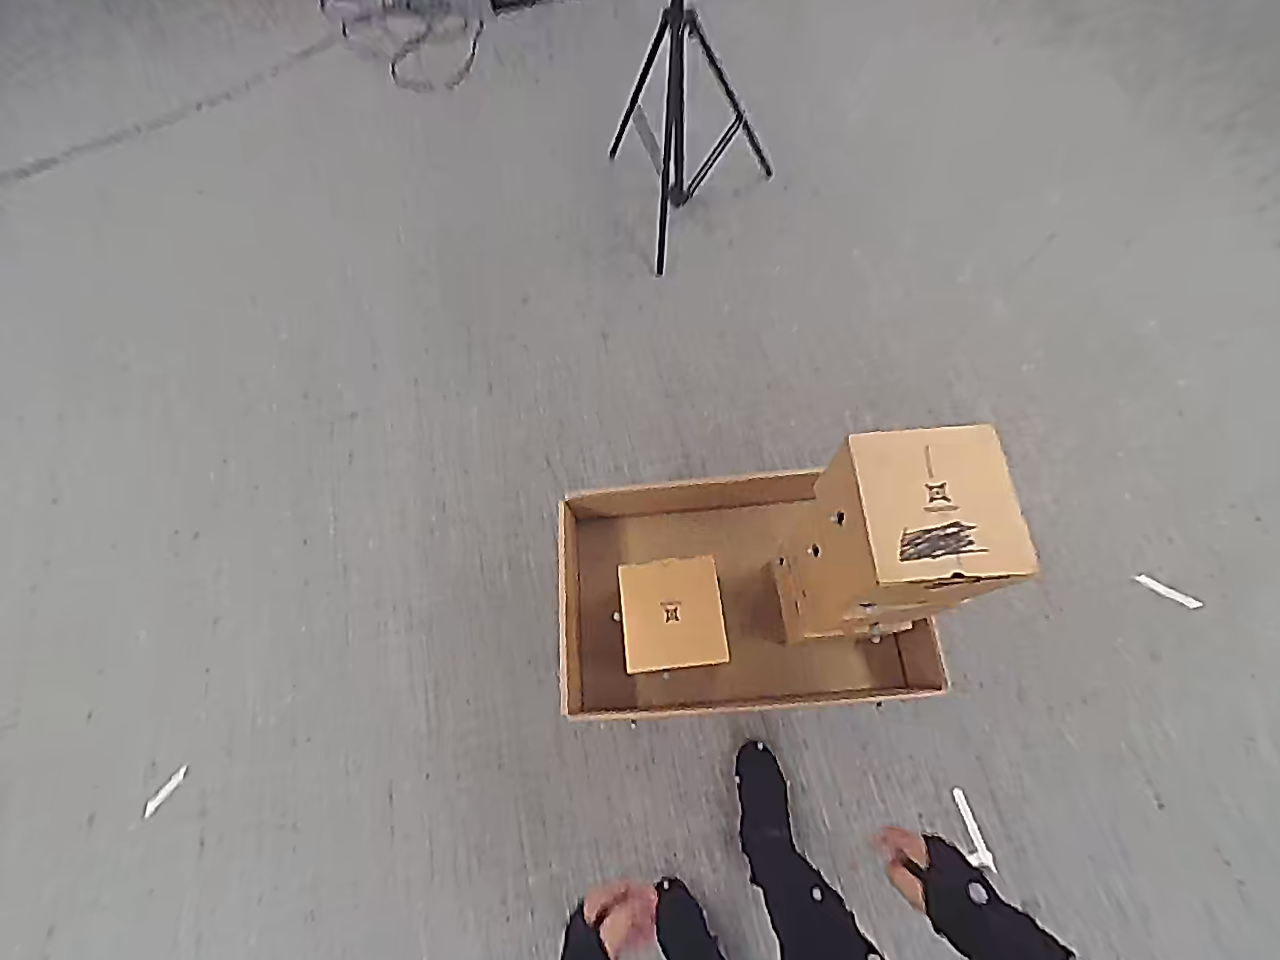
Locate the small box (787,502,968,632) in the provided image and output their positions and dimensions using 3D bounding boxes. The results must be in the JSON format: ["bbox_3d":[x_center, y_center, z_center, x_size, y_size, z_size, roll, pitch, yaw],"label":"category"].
[{"bbox_3d":[0.335,0.126,0.801,0.179,0.176,0.168,-7,68,0],"label":"small box"}]

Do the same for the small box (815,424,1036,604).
[{"bbox_3d":[0.322,0.051,0.653,0.168,0.176,0.179,-4,68,3],"label":"small box"}]

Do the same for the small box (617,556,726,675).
[{"bbox_3d":[0.056,0.246,0.954,0.168,0.176,0.179,-7,67,1],"label":"small box"}]
